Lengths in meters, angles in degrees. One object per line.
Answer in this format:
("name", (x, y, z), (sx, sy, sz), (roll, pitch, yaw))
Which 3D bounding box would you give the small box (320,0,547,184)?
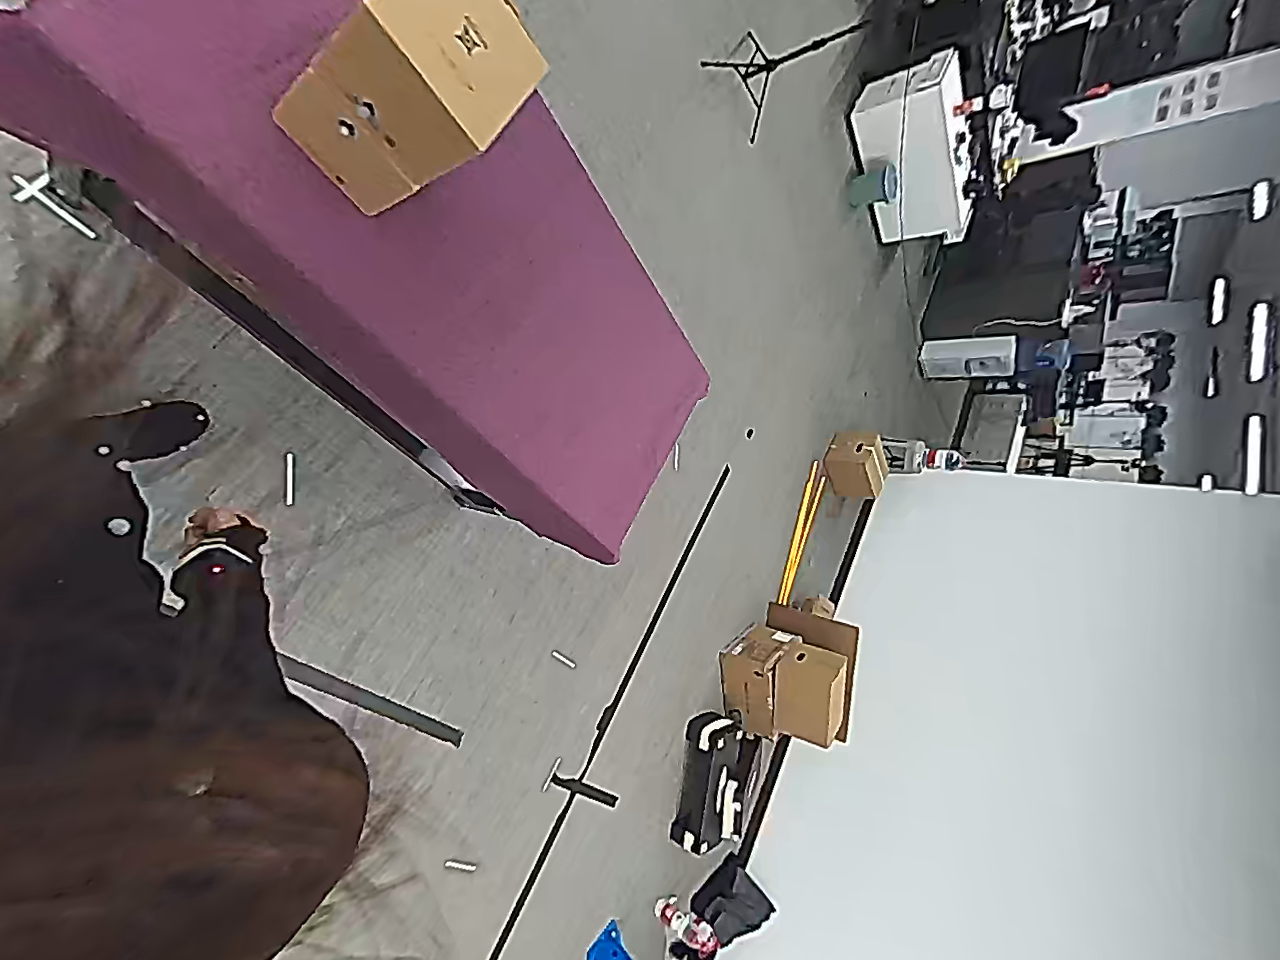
("small box", (-0.258, -0.512, 0.675), (0.168, 0.176, 0.179), (45, 63, -42))

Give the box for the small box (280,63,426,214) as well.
("small box", (-0.378, -0.524, 0.785), (0.168, 0.176, 0.179), (47, 61, -41))
